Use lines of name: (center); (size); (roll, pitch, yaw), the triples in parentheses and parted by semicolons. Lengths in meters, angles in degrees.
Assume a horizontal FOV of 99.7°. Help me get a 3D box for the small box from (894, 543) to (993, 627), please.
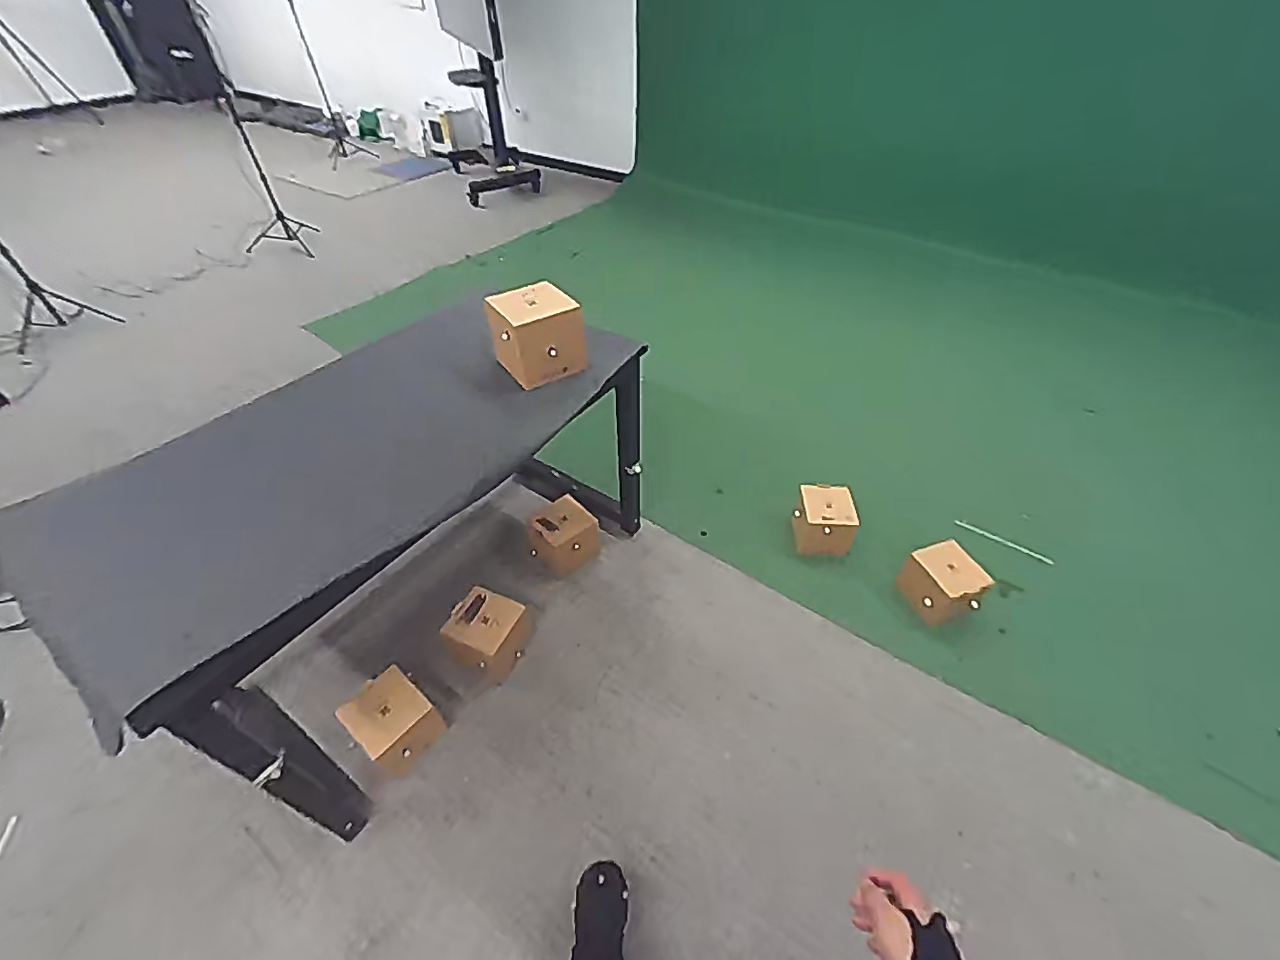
small box: (0.922, 0.328, 1.659); (0.168, 0.176, 0.179); (-13, 46, -15)

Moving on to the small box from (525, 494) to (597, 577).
small box: (-0.254, 0.186, 1.786); (0.179, 0.176, 0.168); (-31, 53, -30)

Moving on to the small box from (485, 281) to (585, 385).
small box: (-0.244, -0.344, 1.282); (0.168, 0.176, 0.179); (-25, 48, -24)

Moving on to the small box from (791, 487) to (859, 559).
small box: (0.621, 0.145, 1.841); (0.168, 0.176, 0.179); (3, 44, 2)

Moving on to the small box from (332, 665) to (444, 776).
small box: (-0.623, 0.611, 1.358); (0.179, 0.176, 0.168); (30, 52, 27)
